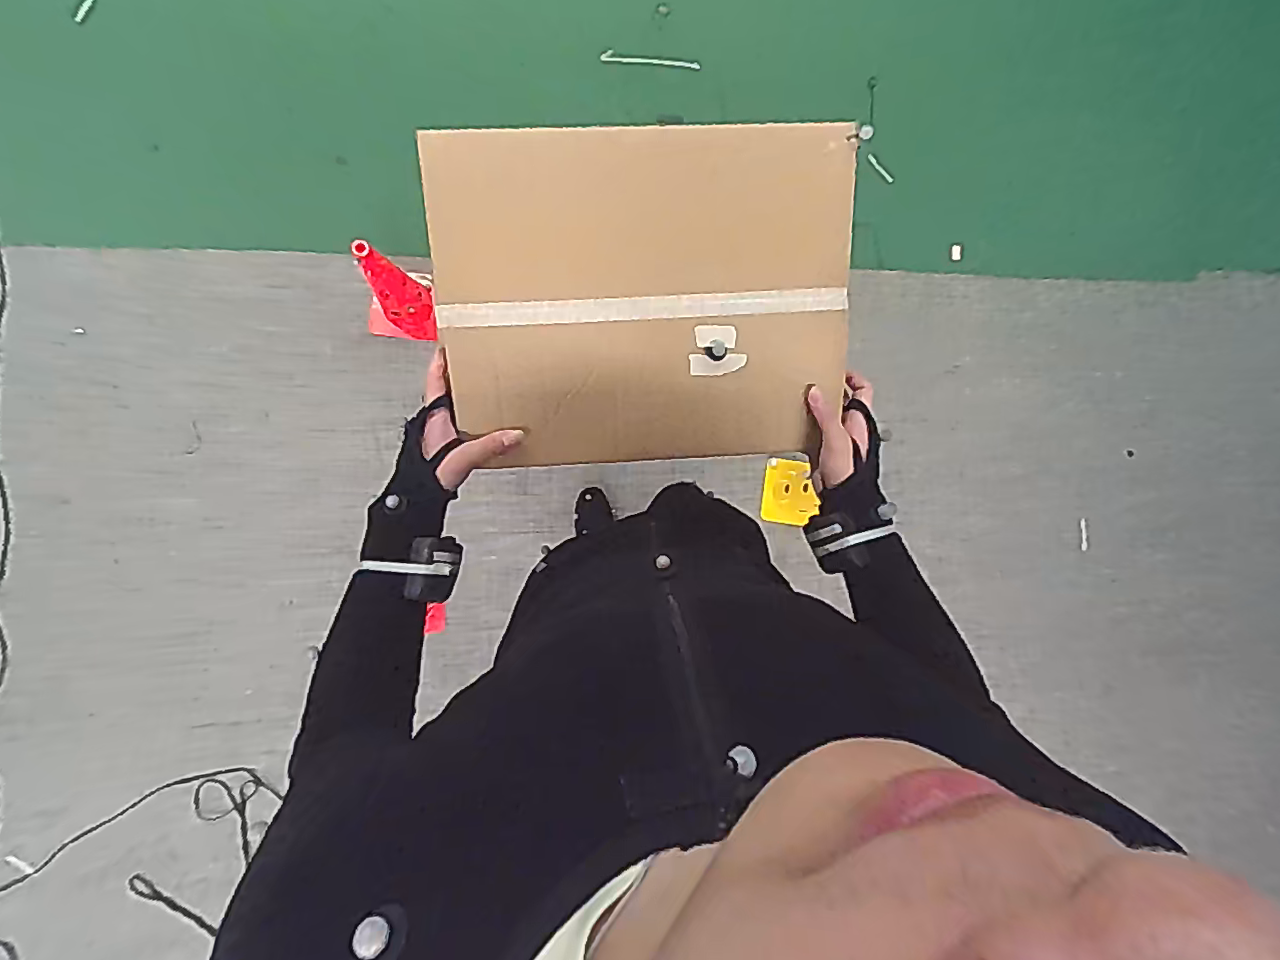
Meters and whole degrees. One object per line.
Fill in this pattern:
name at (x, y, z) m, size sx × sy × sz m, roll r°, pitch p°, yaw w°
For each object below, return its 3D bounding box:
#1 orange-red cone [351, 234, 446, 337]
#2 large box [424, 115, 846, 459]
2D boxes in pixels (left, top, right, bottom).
orange-red cone at (-0.663, -0.534, 1.412) m, size 0.199 × 0.360 × 0.198 m, roll 7°, pitch 86°, yaw -5°
large box at (-0.005, -0.223, 0.684) m, size 0.408 × 0.320 × 0.320 m, roll -4°, pitch 106°, yaw -4°
